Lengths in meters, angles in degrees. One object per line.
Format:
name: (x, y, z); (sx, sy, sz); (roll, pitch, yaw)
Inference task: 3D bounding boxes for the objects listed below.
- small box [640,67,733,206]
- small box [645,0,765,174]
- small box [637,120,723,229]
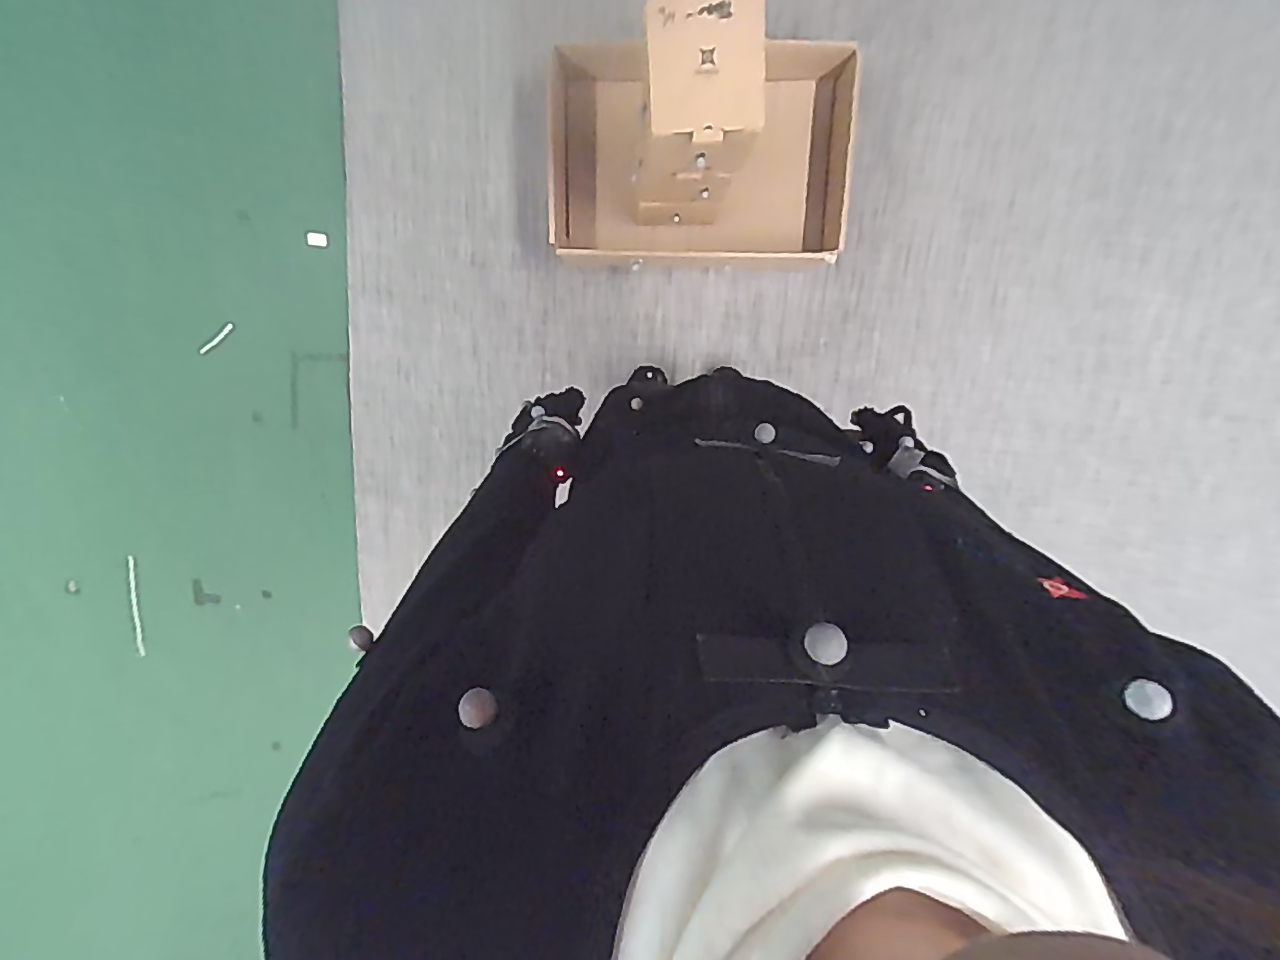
small box: (0.085, -0.624, 1.004); (0.168, 0.176, 0.179); (1, 101, -1)
small box: (0.092, -0.595, 0.843); (0.168, 0.176, 0.179); (-1, 103, 0)
small box: (0.083, -0.649, 1.163); (0.179, 0.176, 0.168); (1, 102, 2)
